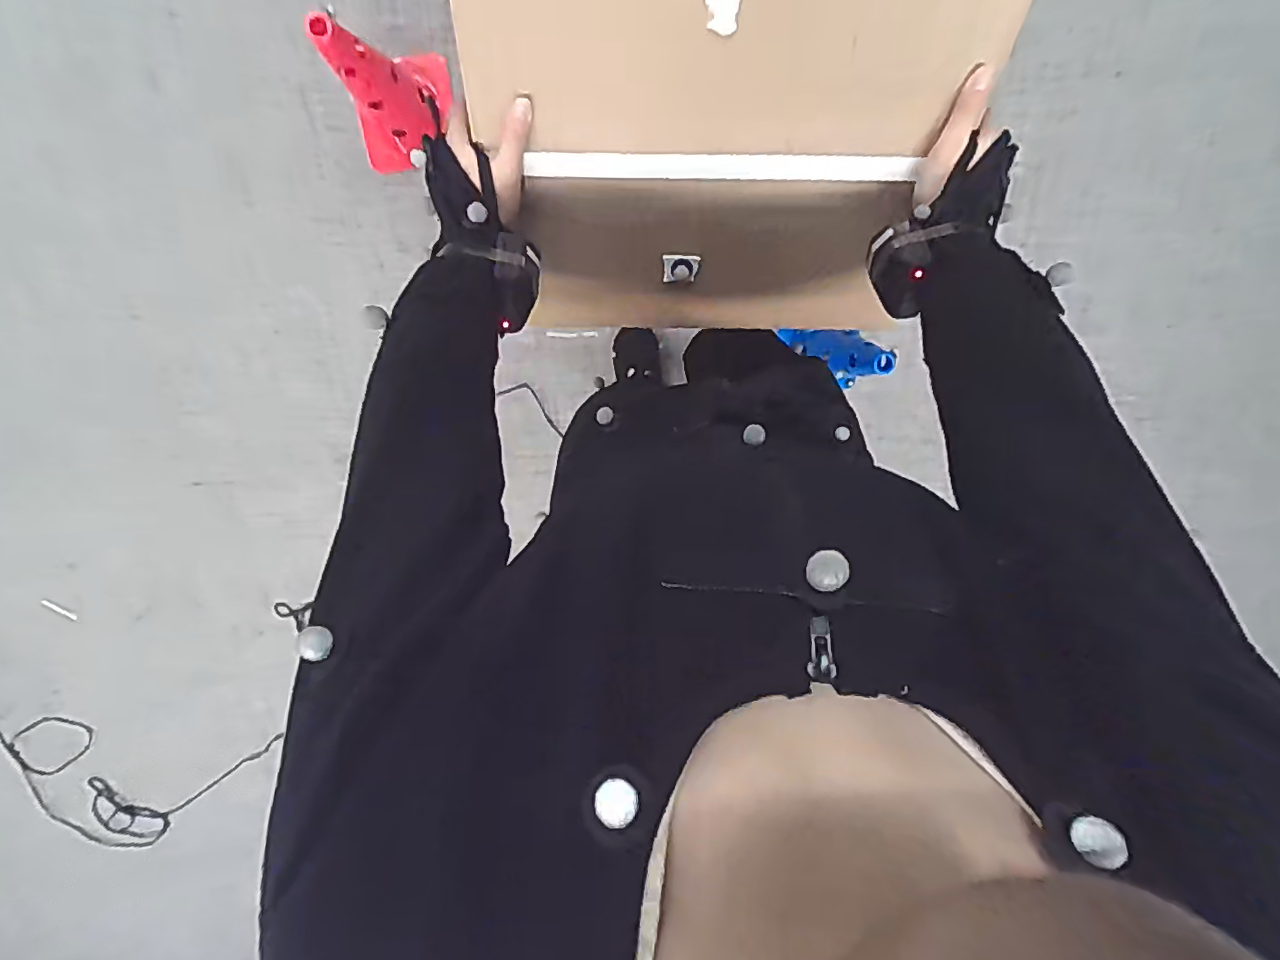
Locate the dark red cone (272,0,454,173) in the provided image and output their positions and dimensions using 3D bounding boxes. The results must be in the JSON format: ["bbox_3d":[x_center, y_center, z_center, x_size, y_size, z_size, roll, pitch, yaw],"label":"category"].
[{"bbox_3d":[-0.483,-0.702,0.928,0.202,0.394,0.201,-8,103,1],"label":"dark red cone"}]
